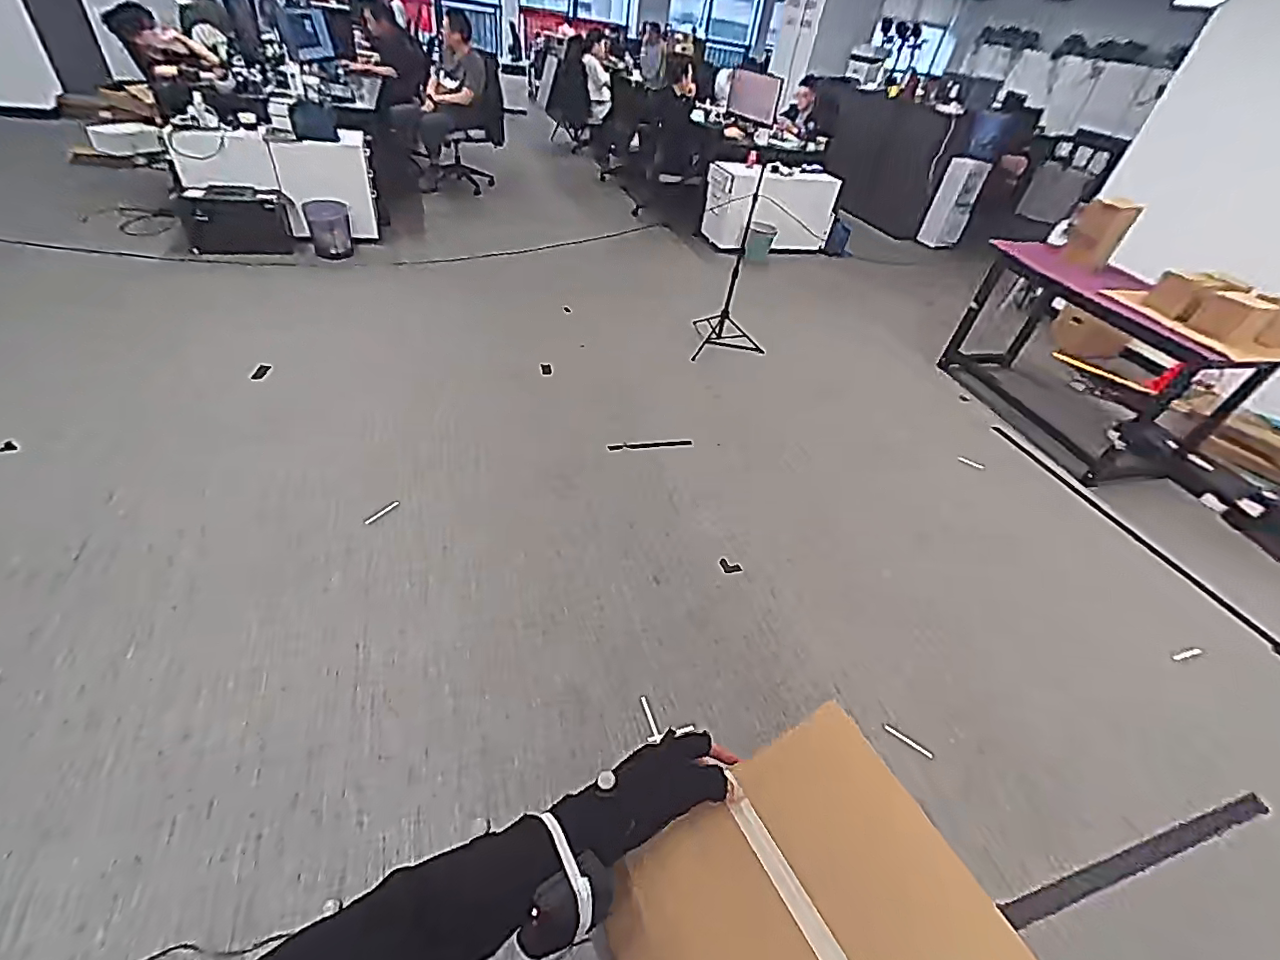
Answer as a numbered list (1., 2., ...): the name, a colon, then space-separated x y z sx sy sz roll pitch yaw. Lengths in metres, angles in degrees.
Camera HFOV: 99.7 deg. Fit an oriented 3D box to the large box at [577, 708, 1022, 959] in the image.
1. large box: 0.163 0.533 0.561 0.320 0.320 0.408 -23 58 -23
